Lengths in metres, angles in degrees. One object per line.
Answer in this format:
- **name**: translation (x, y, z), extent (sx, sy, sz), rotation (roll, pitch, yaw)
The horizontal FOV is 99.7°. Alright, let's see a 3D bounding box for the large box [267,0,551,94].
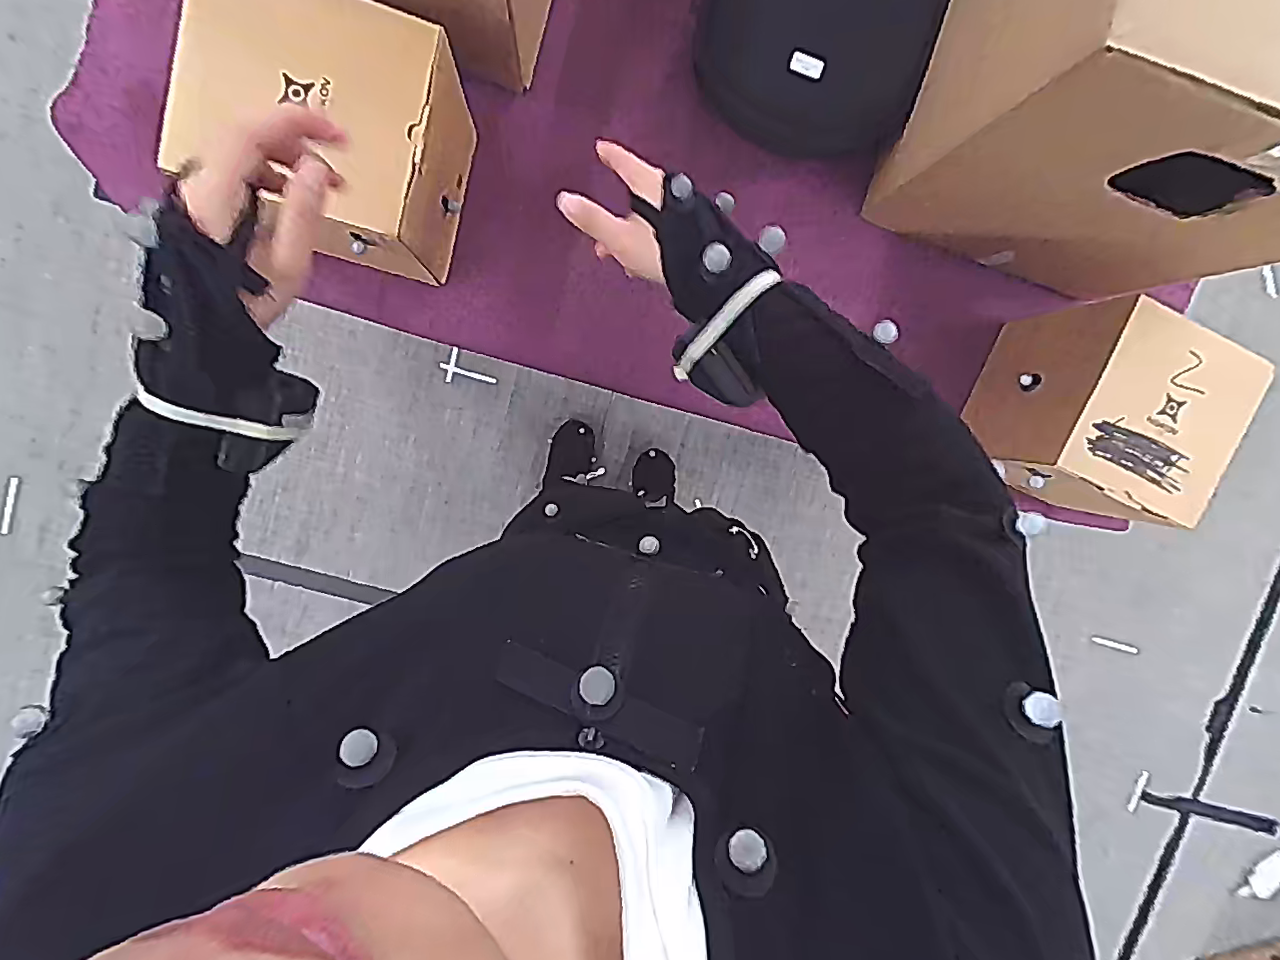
- **large box**: translation (-0.193, -0.616, 0.393), extent (0.320, 0.320, 0.408), rotation (15, 98, -9)
